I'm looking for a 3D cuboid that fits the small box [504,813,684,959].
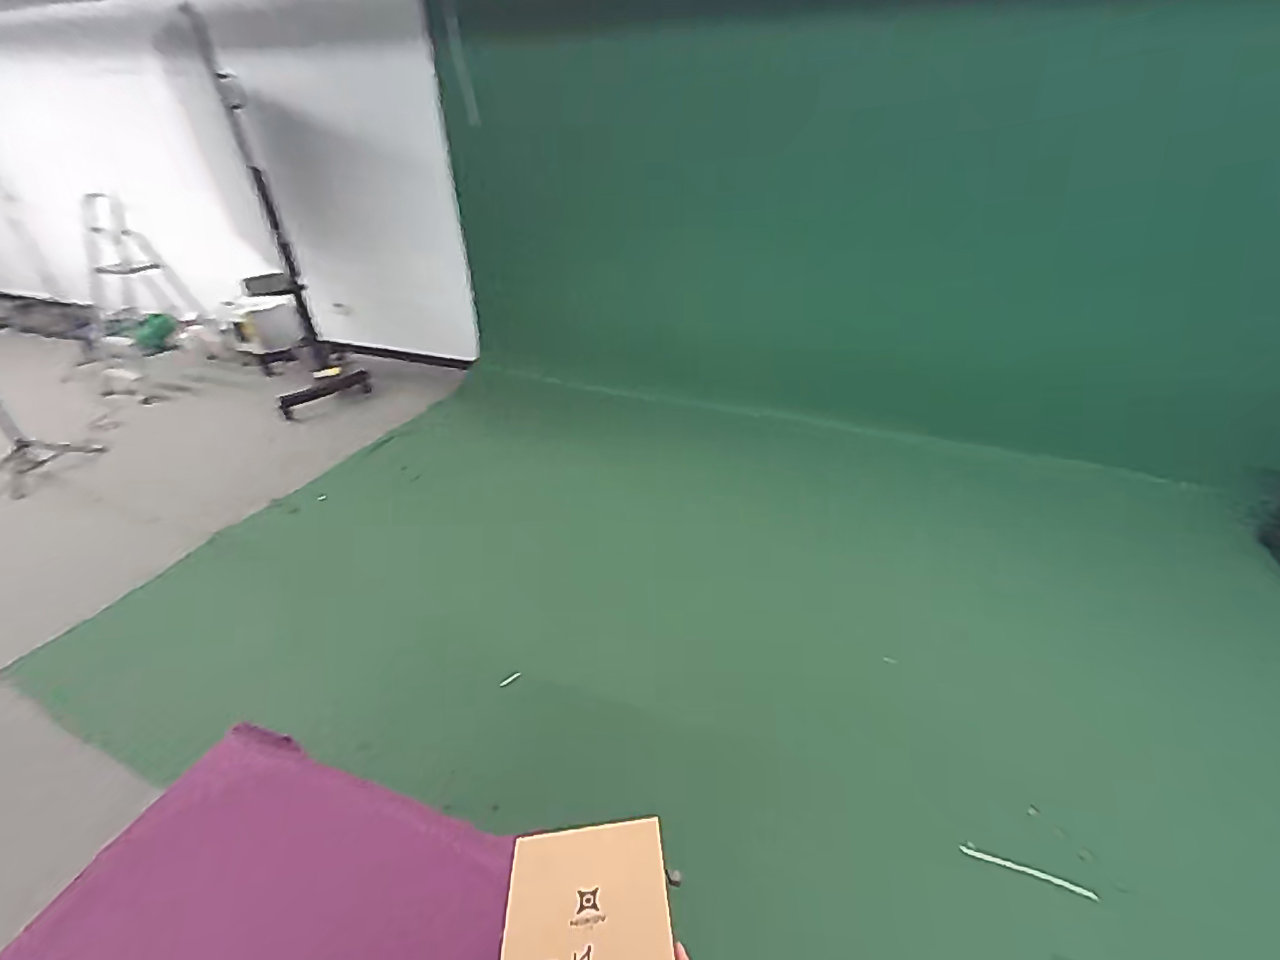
[{"bbox_3d":[-0.041,0.506,0.585,0.168,0.176,0.179,-8,22,0],"label":"small box"}]
